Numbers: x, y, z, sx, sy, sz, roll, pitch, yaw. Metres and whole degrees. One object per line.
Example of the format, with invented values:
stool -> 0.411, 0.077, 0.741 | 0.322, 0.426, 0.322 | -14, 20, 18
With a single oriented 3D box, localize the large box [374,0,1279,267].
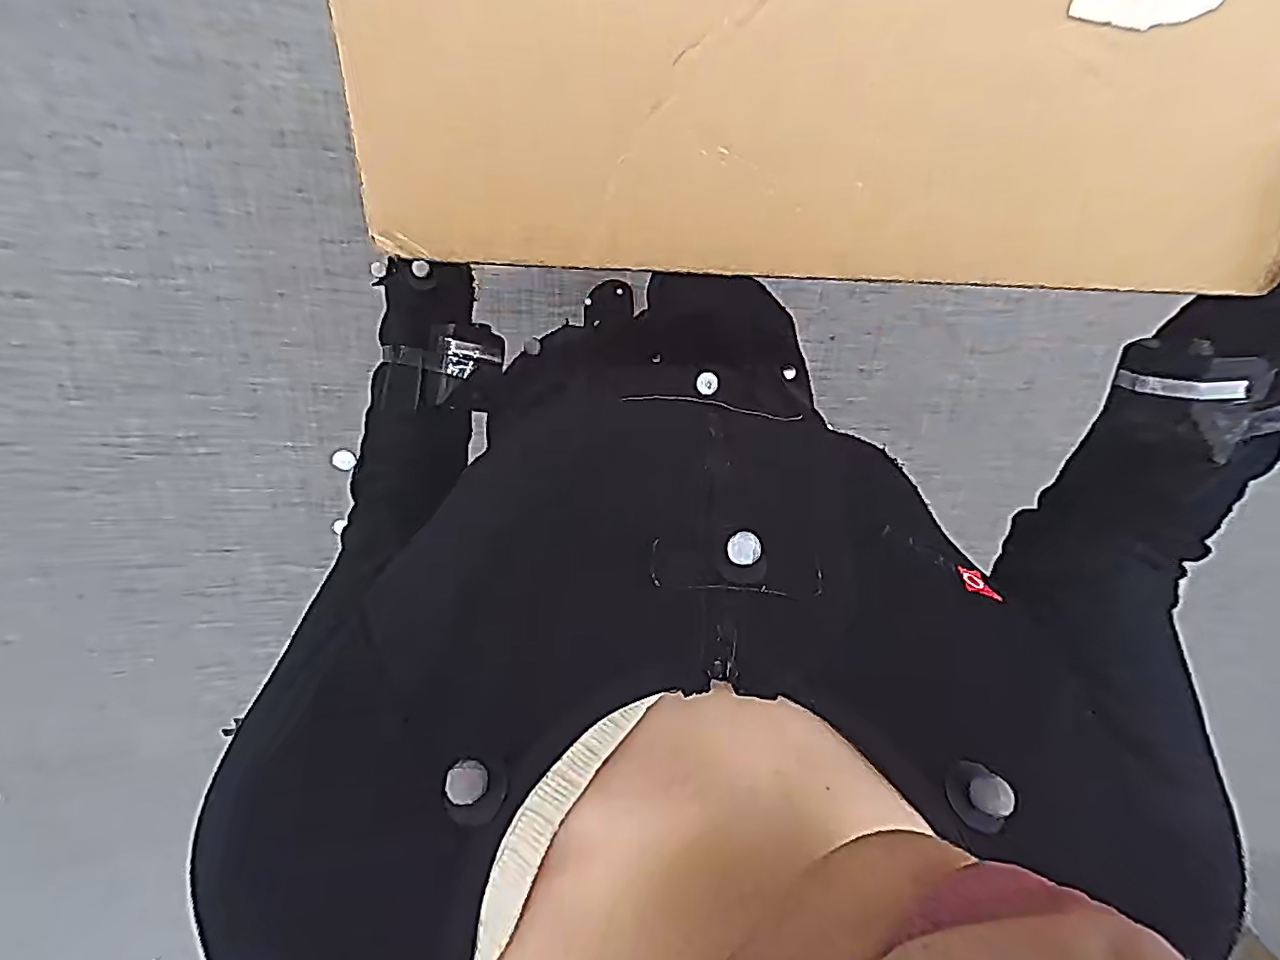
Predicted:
large box -> 0.089, -0.306, 0.286 | 0.408, 0.320, 0.320 | -2, 122, -10
